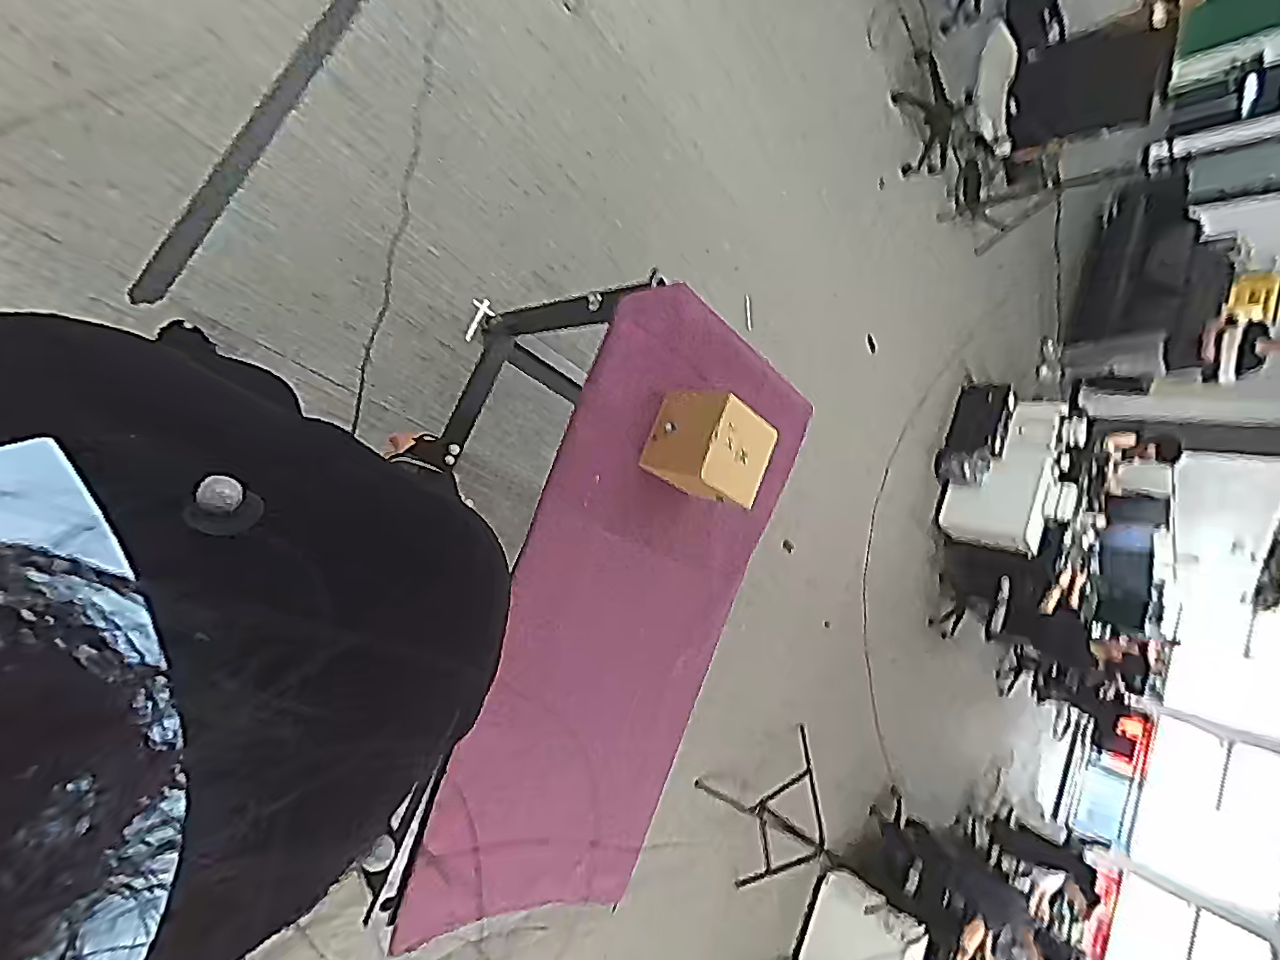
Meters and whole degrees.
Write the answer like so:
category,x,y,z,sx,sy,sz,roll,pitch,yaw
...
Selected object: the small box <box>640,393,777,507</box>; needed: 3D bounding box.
category,x,y,z,sx,sy,sz,roll,pitch,yaw
small box,0.134,-0.064,1.071,0.179,0.176,0.168,28,80,-41
